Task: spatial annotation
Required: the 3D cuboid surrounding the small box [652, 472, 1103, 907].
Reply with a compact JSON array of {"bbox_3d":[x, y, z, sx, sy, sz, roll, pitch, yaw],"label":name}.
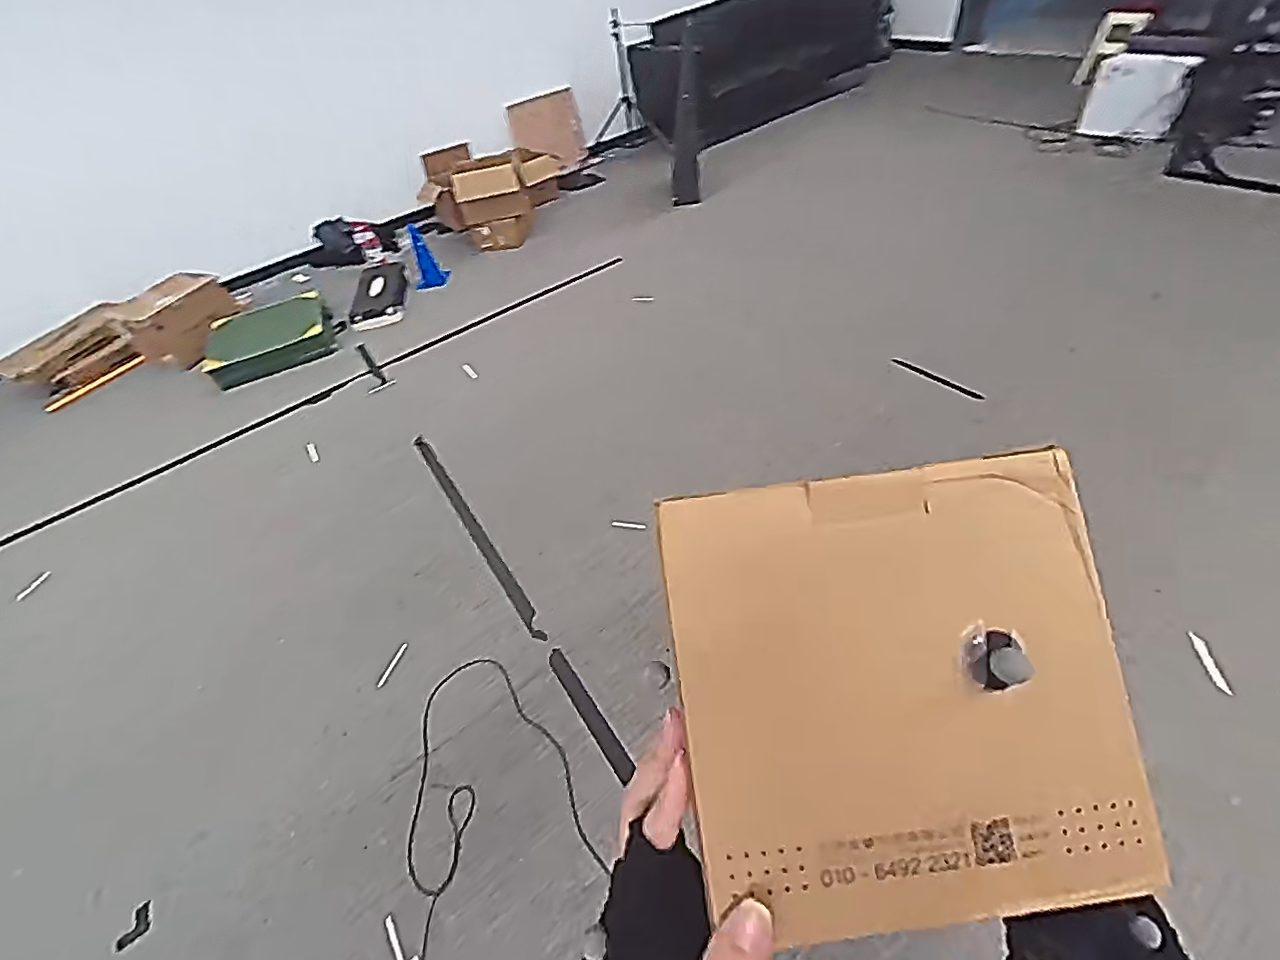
[{"bbox_3d":[0.100,0.100,0.303,0.168,0.179,0.176,-8,82,-1],"label":"small box"}]
